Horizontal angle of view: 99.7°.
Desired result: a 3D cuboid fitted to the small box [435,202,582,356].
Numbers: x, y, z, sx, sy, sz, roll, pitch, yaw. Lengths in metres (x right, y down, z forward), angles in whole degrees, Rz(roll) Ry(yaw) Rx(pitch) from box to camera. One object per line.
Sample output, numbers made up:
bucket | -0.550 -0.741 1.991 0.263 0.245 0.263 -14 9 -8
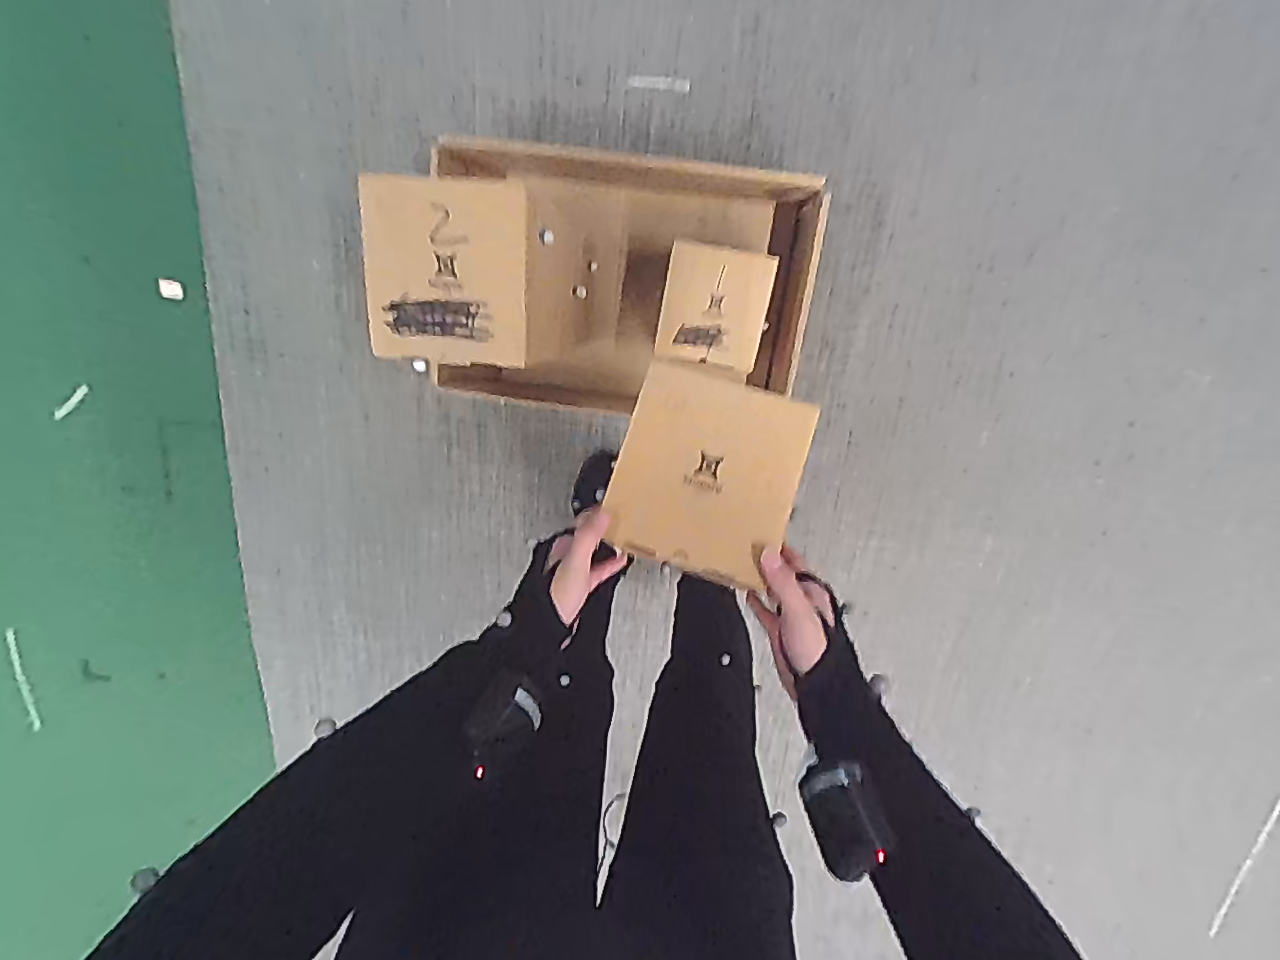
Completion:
small box | -0.178 -0.277 0.769 0.168 0.176 0.179 5 107 2

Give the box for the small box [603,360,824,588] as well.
small box | 0.073 0.003 0.572 0.168 0.176 0.179 17 83 7
